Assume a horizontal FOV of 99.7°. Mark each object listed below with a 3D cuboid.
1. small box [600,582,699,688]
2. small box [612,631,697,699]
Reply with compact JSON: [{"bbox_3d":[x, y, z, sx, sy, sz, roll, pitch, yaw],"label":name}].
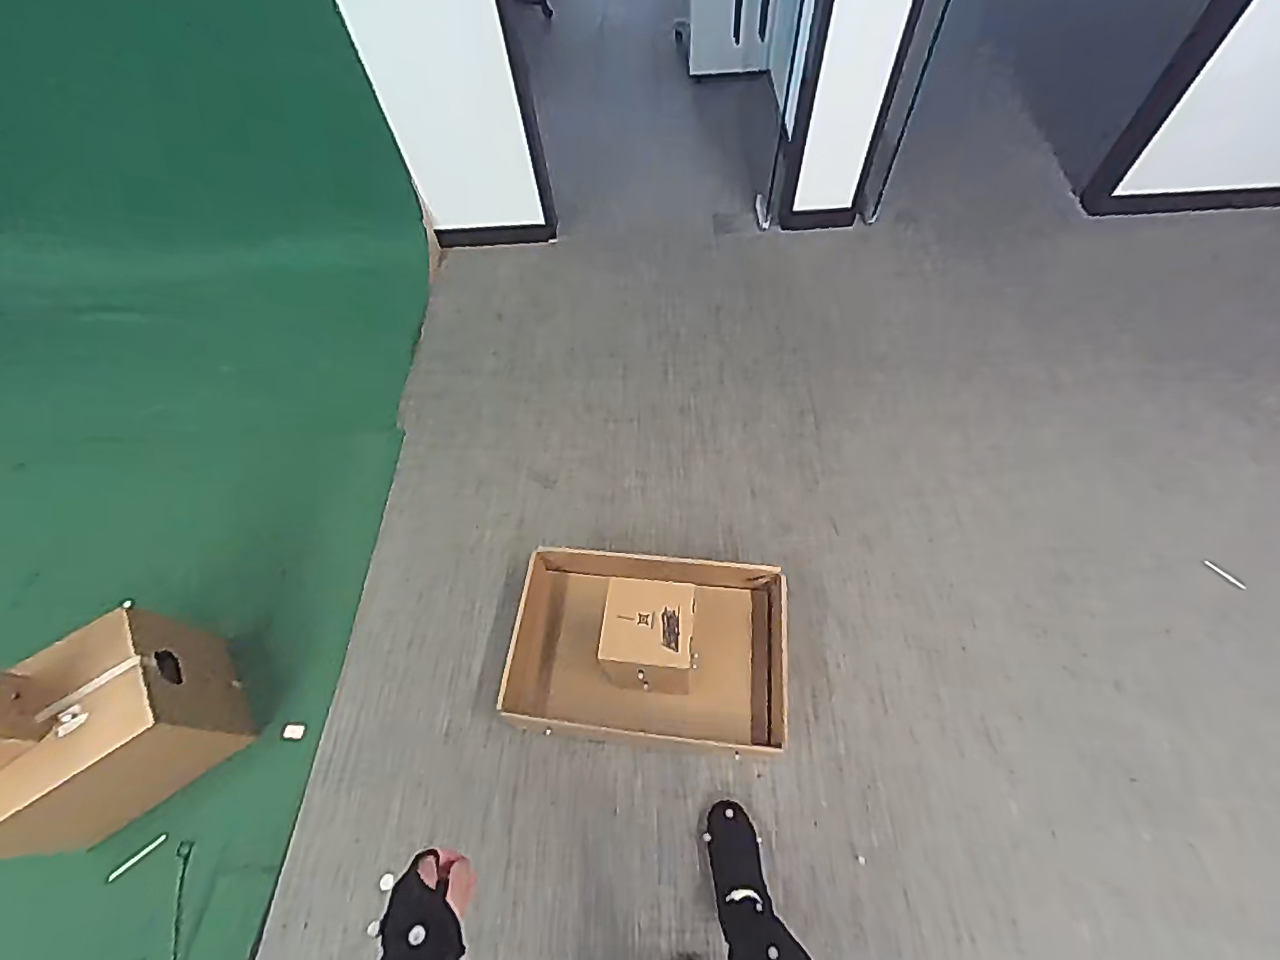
[{"bbox_3d":[0.027,0.322,1.109,0.179,0.176,0.168,4,60,8],"label":"small box"},{"bbox_3d":[0.039,0.404,1.252,0.179,0.176,0.168,4,61,6],"label":"small box"}]
